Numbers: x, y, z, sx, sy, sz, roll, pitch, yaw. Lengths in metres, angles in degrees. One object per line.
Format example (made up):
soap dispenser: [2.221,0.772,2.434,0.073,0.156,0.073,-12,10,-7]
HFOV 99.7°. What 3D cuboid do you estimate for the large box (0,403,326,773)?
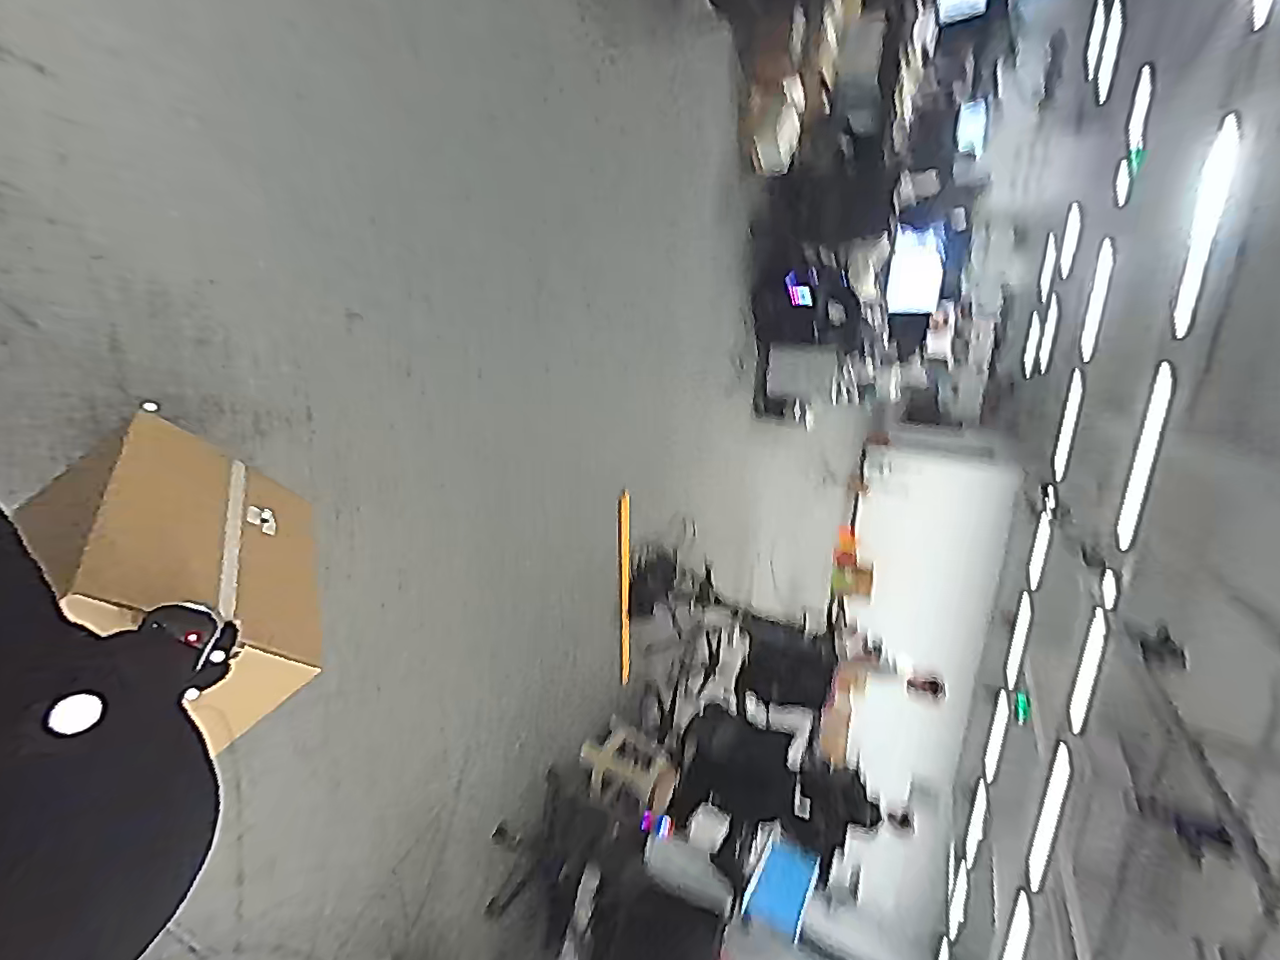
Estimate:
large box: [-0.743,0.164,0.830,0.320,0.408,0.320,-39,138,0]
